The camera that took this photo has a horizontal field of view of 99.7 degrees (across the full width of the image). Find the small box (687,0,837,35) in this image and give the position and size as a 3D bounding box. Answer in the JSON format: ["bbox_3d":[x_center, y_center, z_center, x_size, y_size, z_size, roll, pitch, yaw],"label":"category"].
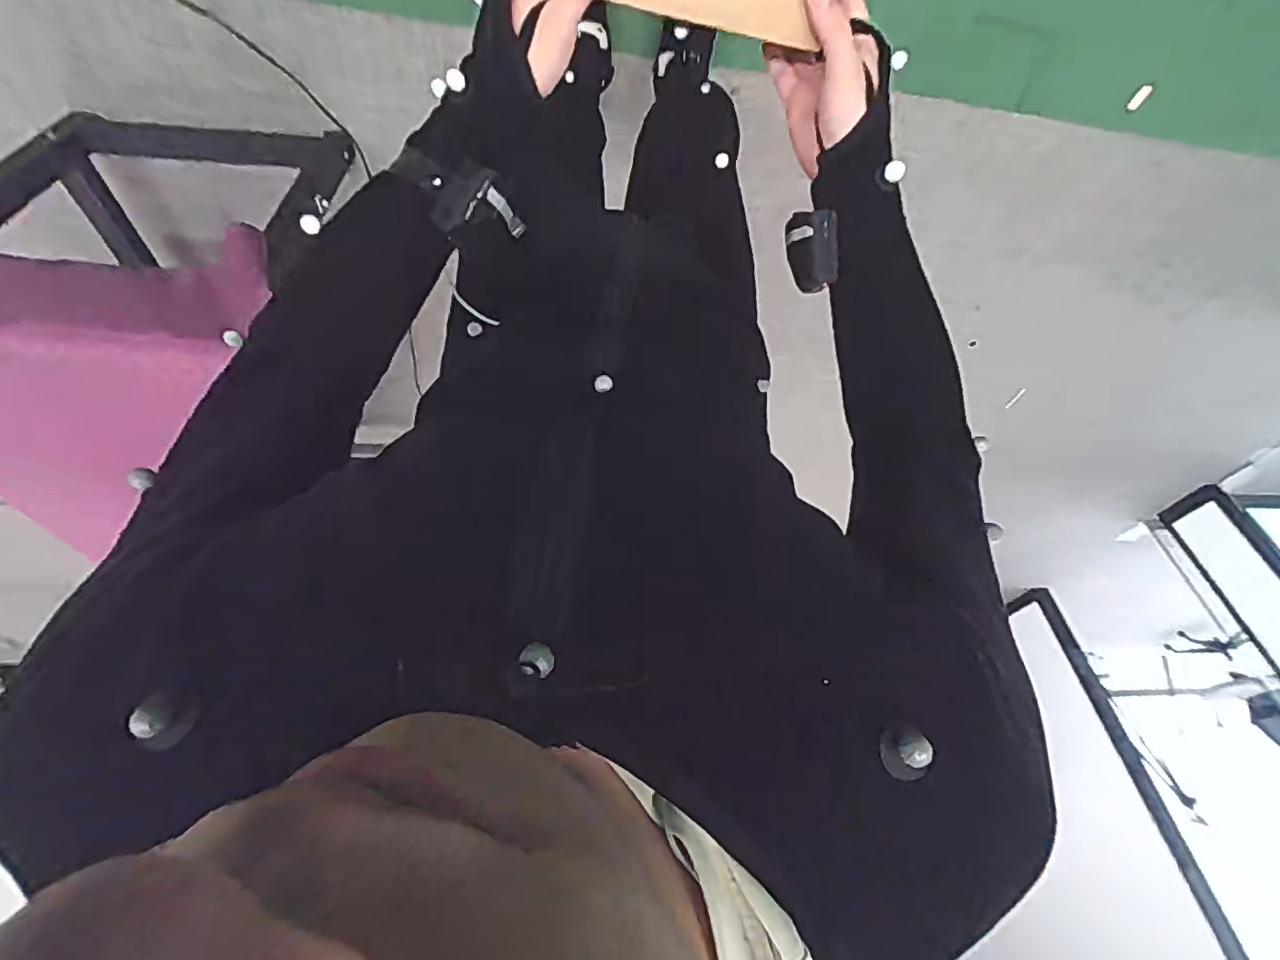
[{"bbox_3d":[0.060,-0.449,0.385,0.179,0.176,0.168,2,136,-13],"label":"small box"}]
